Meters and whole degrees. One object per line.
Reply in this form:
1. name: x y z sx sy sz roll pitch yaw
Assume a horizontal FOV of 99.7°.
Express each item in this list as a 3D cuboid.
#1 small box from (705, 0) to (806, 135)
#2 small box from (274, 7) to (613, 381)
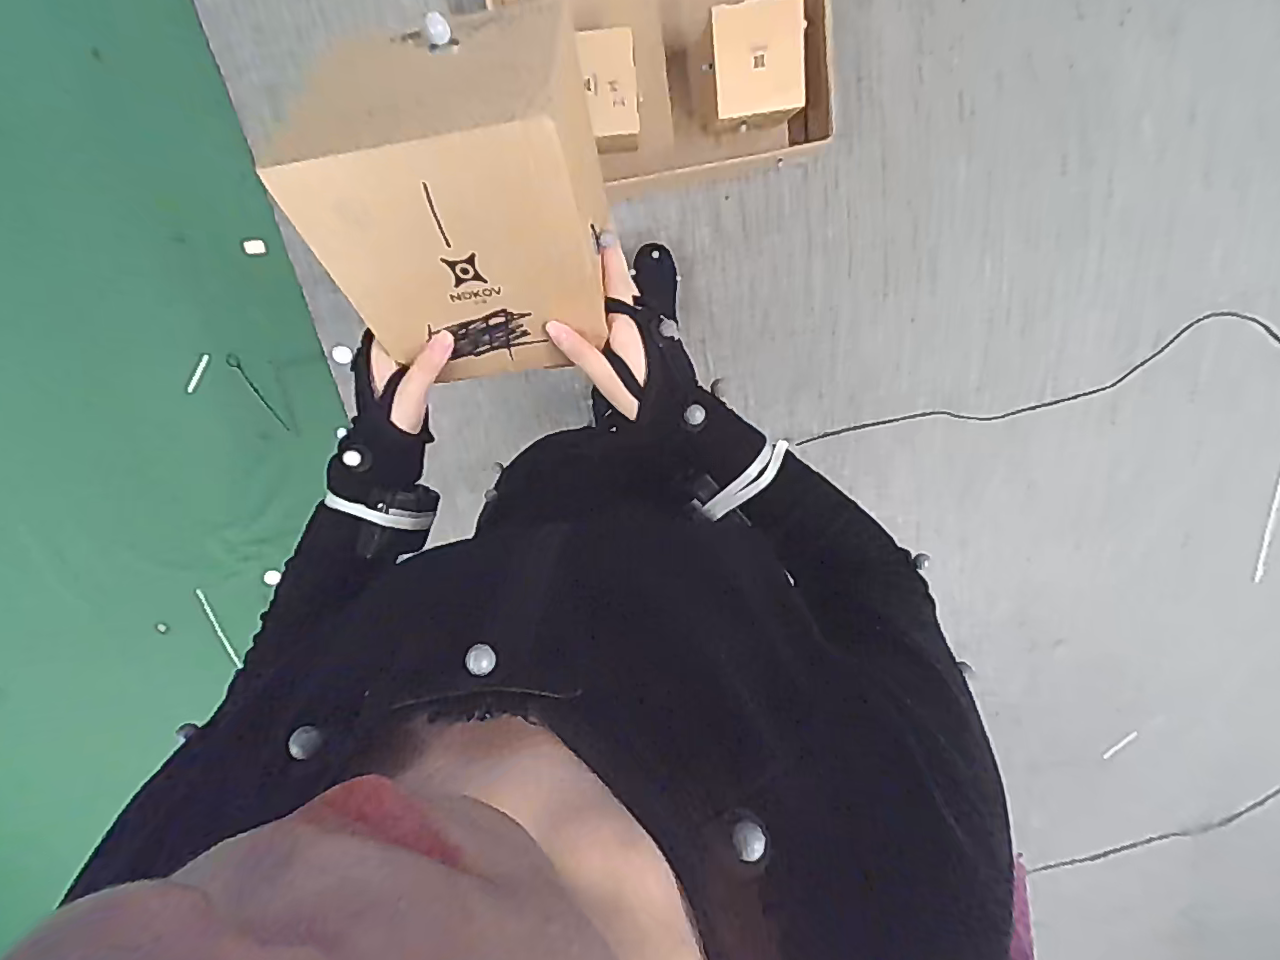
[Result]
1. small box: 0.222 -0.797 1.061 0.168 0.176 0.179 -7 112 2
2. small box: -0.113 -0.201 0.401 0.168 0.176 0.179 -6 146 5
